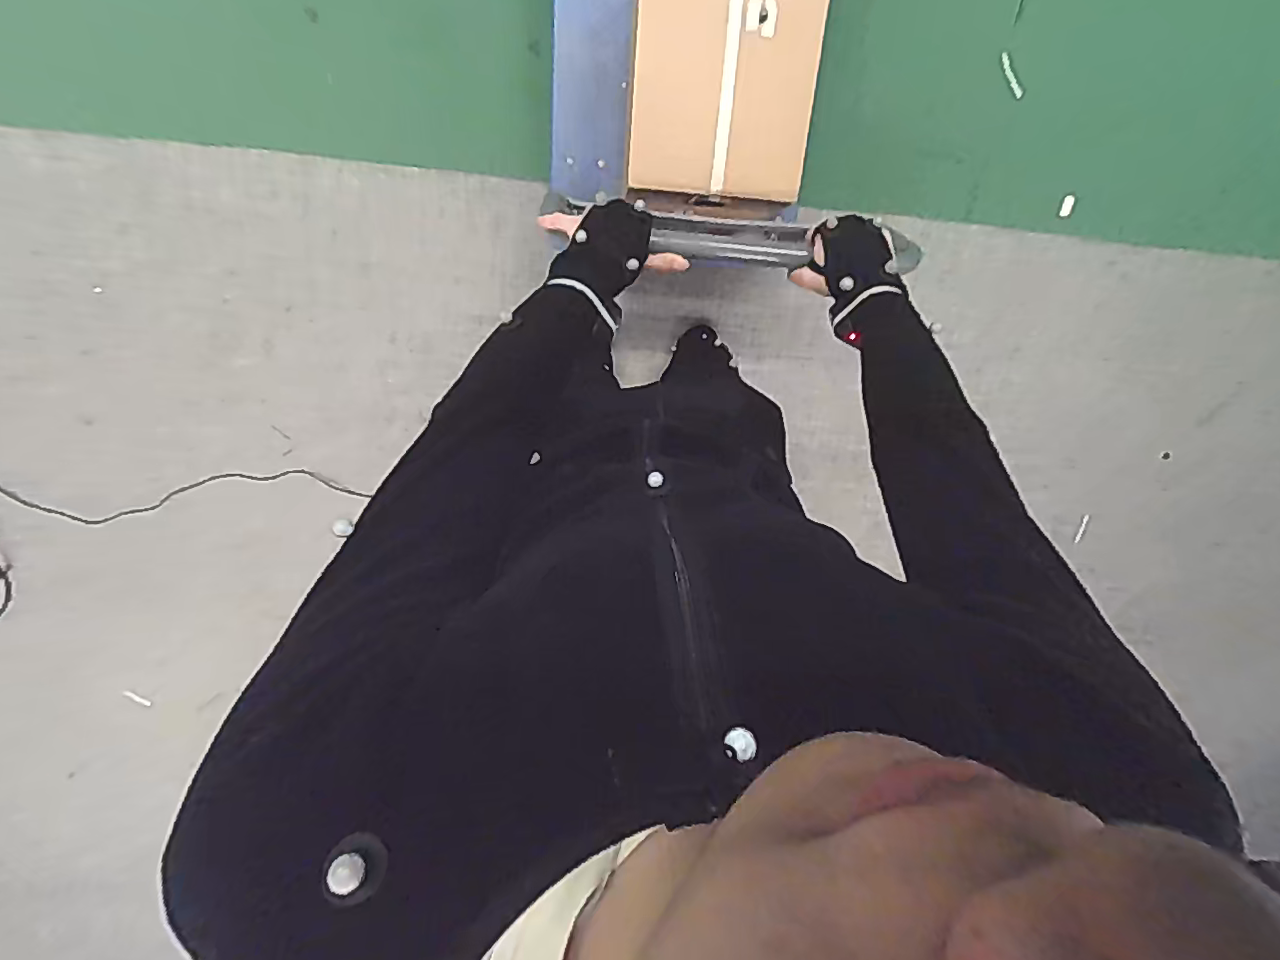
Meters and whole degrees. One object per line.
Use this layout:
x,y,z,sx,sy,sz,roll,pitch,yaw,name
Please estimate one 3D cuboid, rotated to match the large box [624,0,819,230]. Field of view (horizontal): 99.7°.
0.130,-0.735,1.064,0.320,0.320,0.408,2,108,-6,large box
